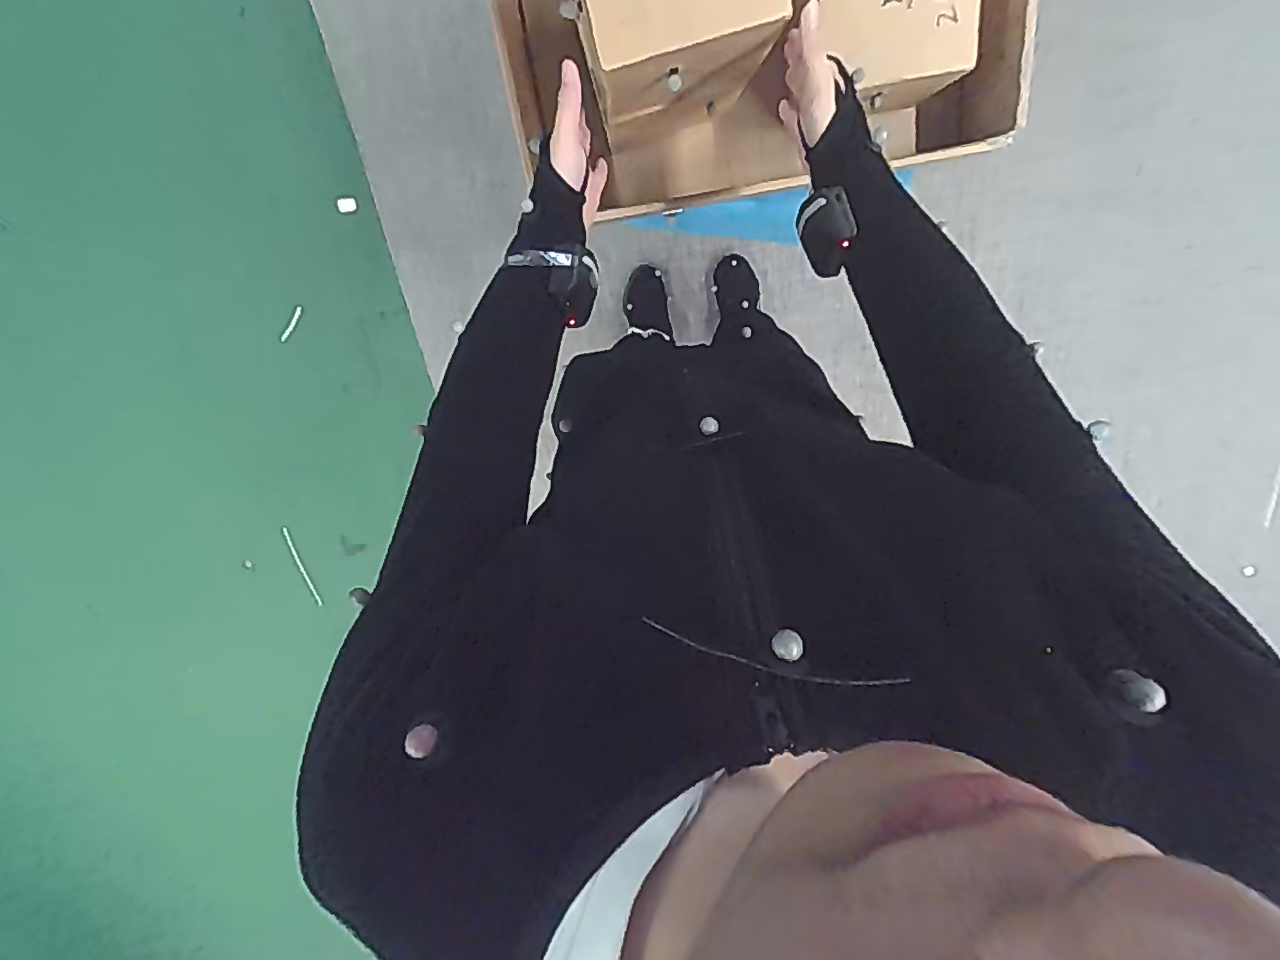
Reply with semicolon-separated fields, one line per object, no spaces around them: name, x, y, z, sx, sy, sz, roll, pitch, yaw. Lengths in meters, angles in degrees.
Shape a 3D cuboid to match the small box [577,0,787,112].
small box;0.026;-0.484;0.518;0.179;0.176;0.168;-13;111;5
